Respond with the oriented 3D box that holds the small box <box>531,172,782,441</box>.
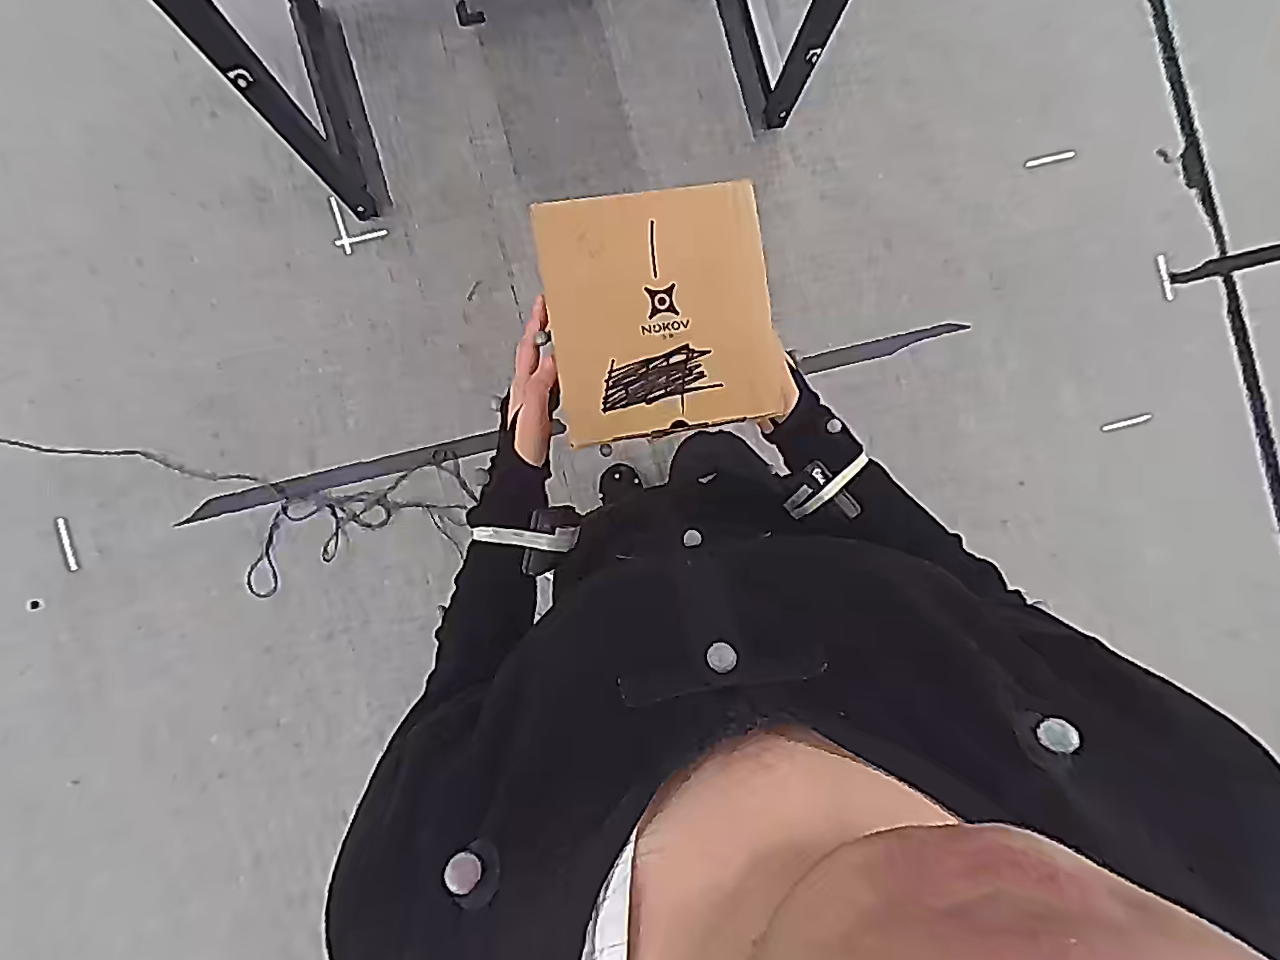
[{"bbox_3d":[0.007,-0.132,0.471,0.168,0.176,0.179,-10,94,-6],"label":"small box"}]
